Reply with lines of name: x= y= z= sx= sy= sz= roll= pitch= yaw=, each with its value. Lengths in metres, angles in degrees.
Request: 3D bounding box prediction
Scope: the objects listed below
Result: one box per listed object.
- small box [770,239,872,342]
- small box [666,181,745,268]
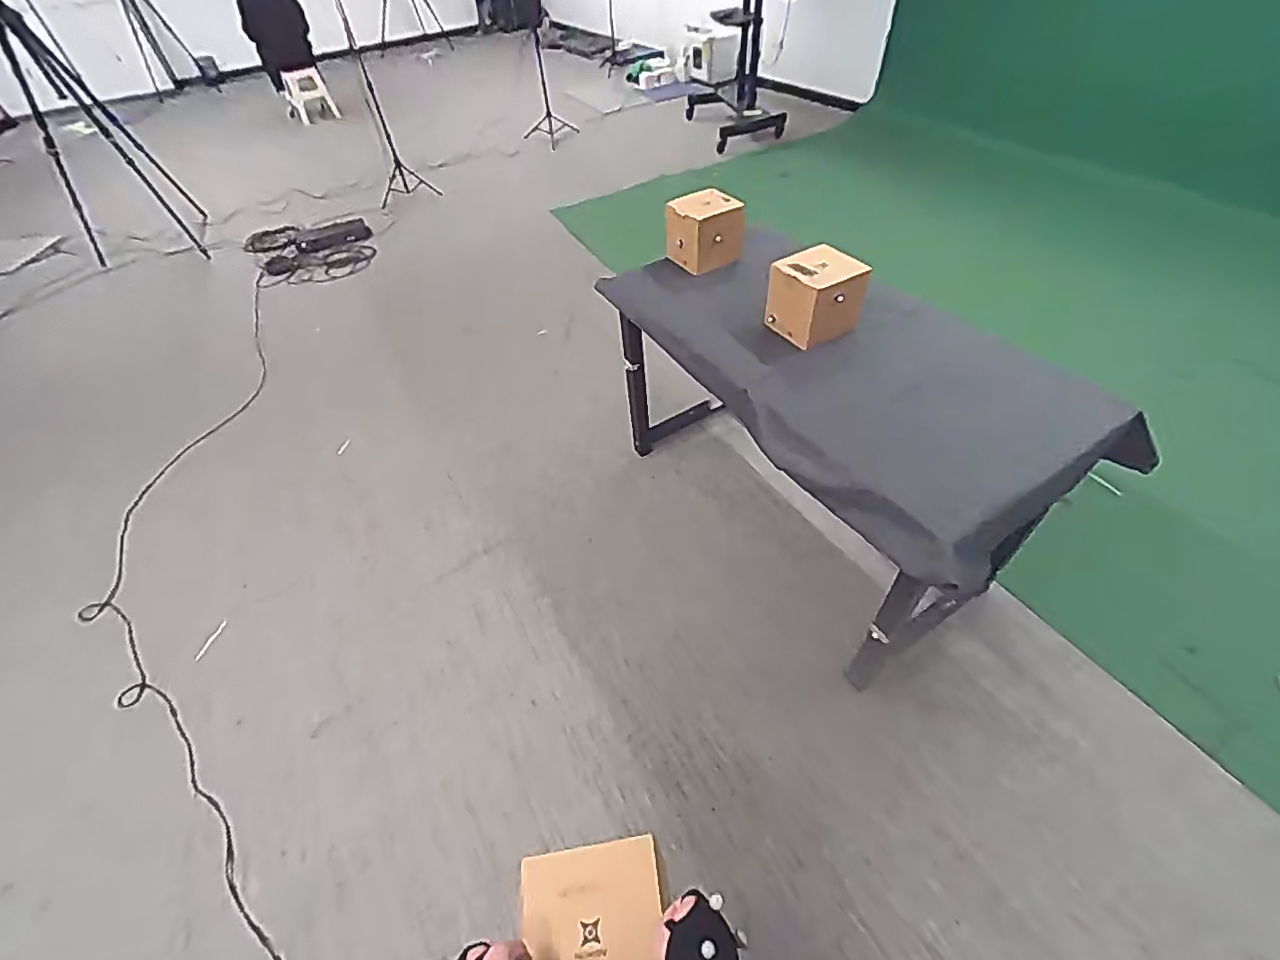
small box: x=0.441 y=-0.472 z=1.354 sx=0.179 sy=0.176 sz=0.168 roll=-26 pitch=52 yaw=-17
small box: x=0.197 y=-0.767 z=1.633 sx=0.179 sy=0.176 sz=0.168 roll=-28 pitch=54 yaw=-17
